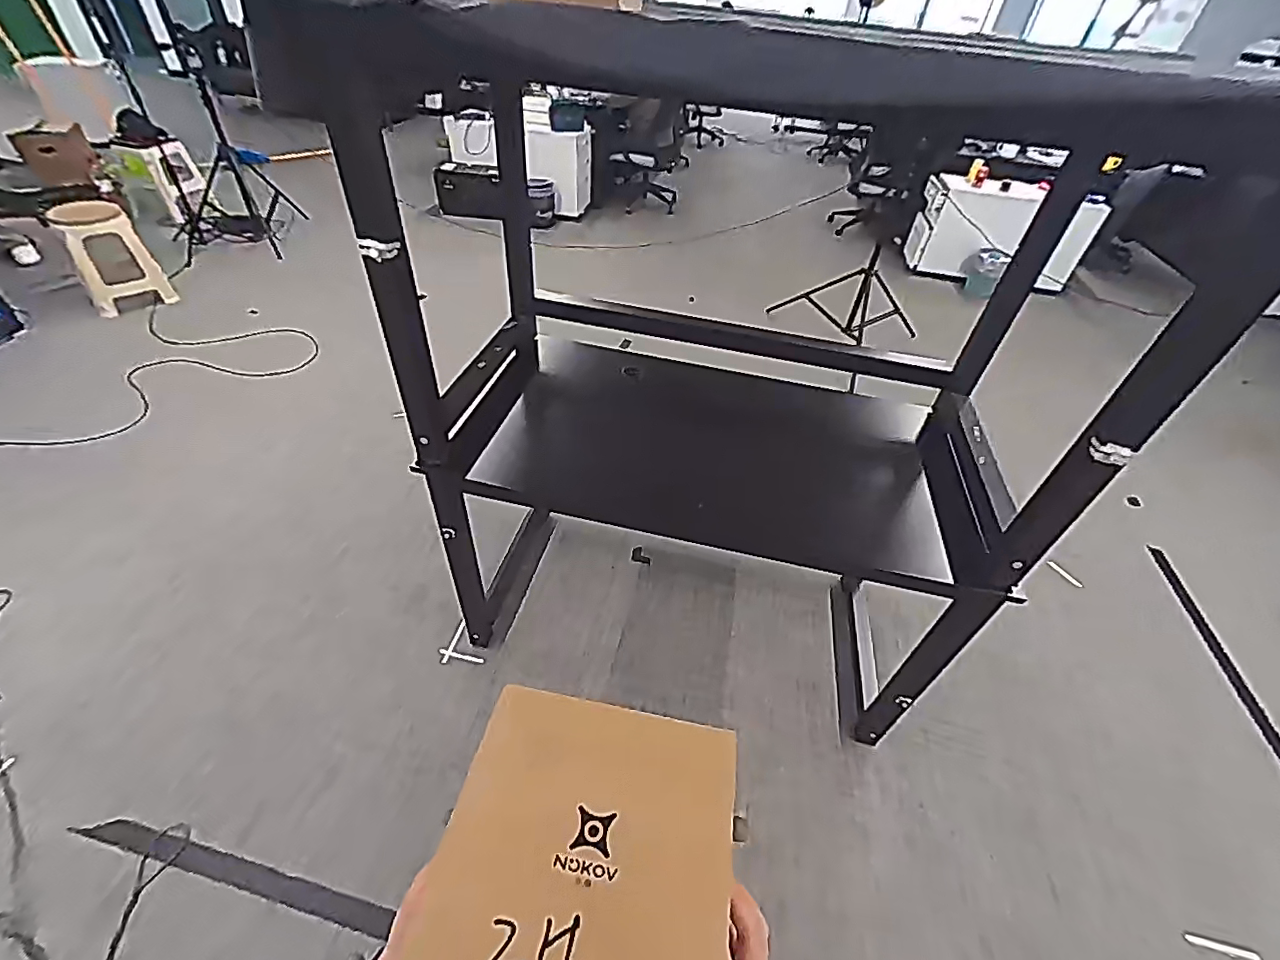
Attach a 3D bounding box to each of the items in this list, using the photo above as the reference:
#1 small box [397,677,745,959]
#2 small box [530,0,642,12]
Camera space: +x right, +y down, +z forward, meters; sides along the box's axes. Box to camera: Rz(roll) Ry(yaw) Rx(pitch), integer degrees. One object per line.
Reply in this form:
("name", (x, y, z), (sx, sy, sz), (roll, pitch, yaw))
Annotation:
("small box", (-0.032, 0.266, 0.355), (0.168, 0.176, 0.179), (10, 39, 5))
("small box", (-0.080, -0.664, 0.630), (0.168, 0.176, 0.179), (10, 42, 3))
